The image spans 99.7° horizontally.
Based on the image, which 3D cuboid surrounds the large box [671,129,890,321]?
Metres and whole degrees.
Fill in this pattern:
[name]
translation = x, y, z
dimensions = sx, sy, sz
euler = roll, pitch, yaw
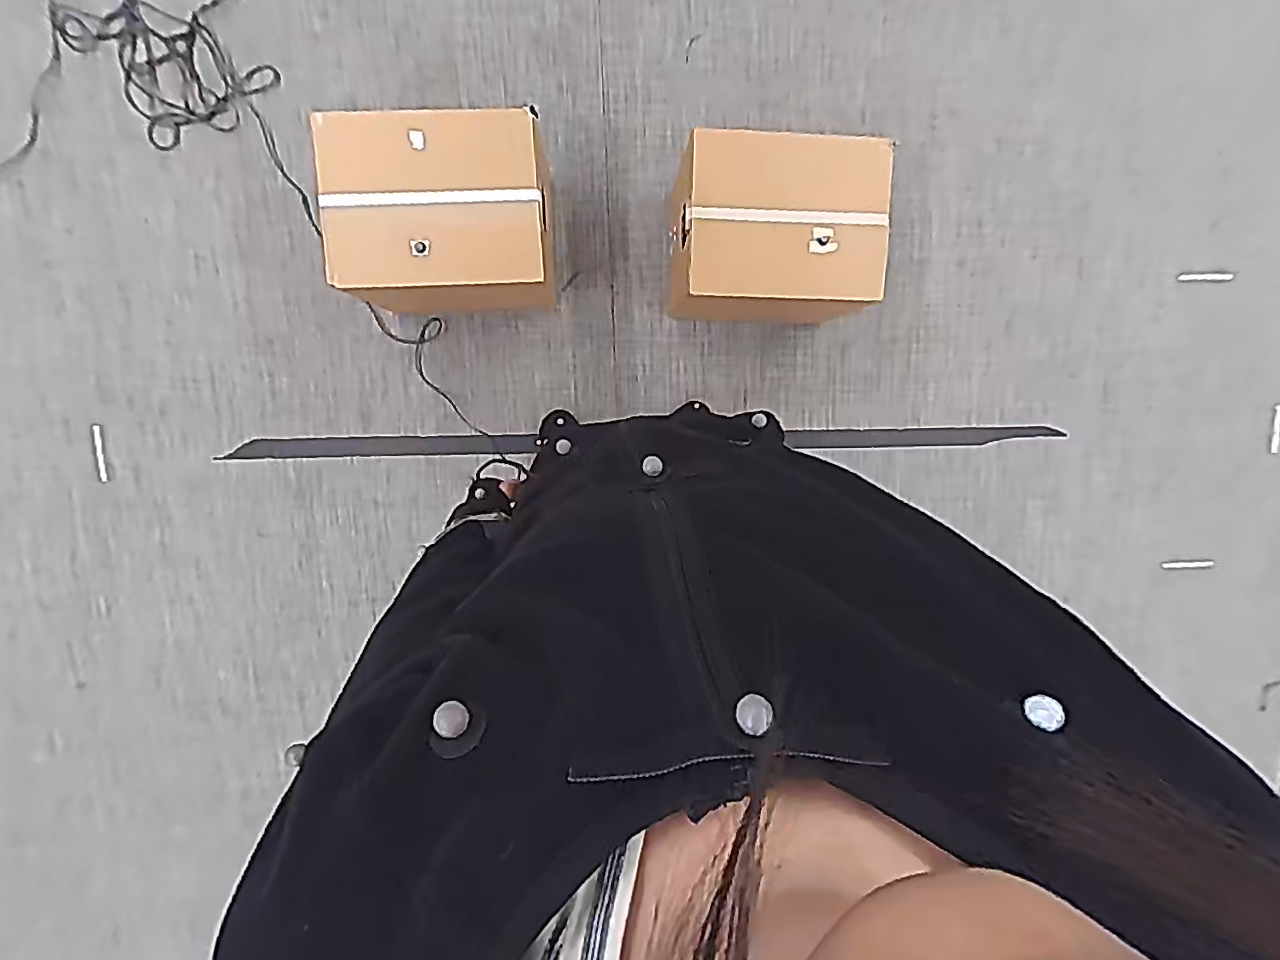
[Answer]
[large box]
translation = 0.287, -0.546, 1.228
dimensions = 0.408, 0.320, 0.320
euler = 1, 98, -5
